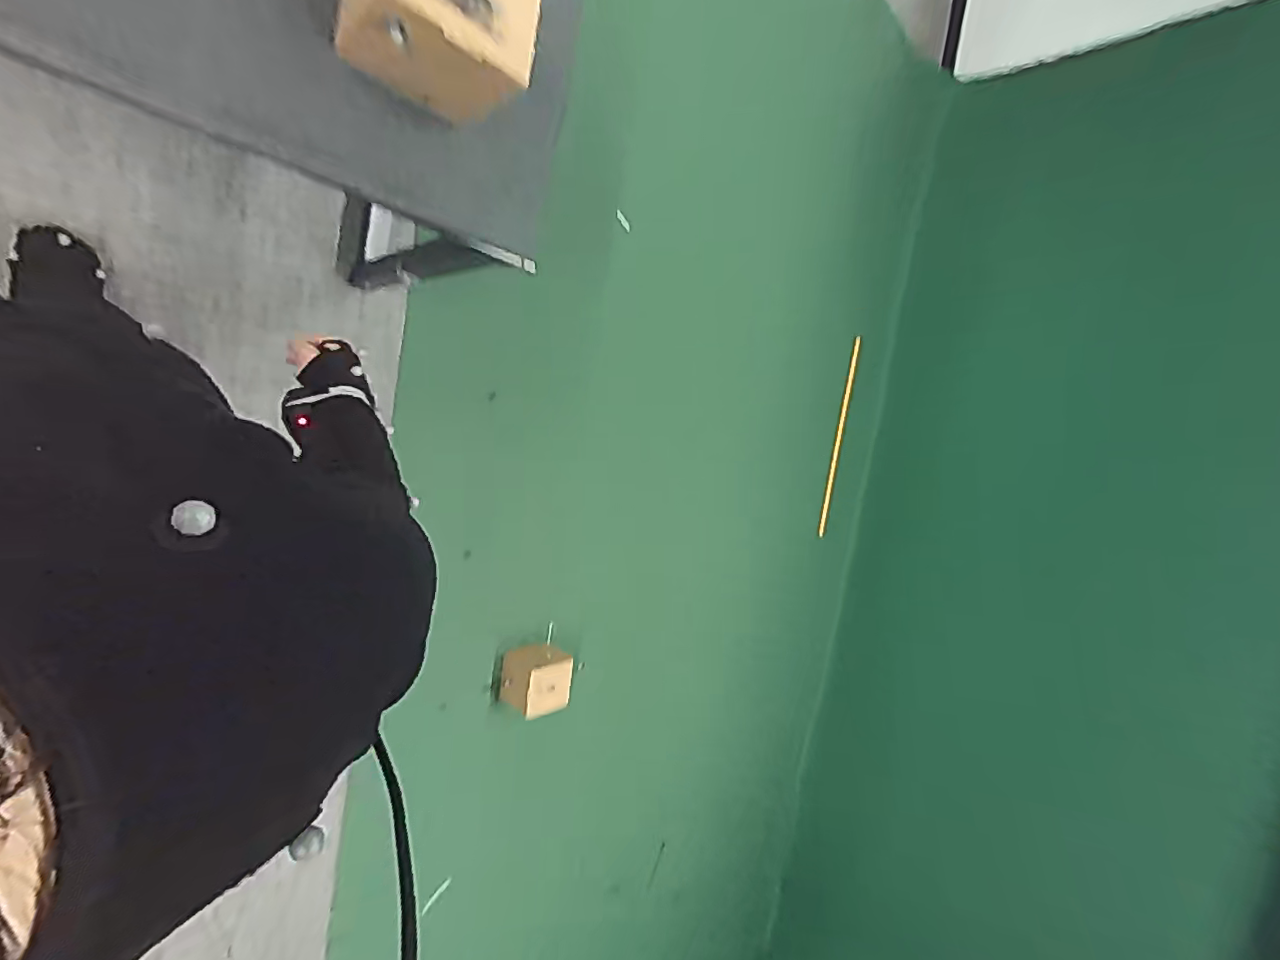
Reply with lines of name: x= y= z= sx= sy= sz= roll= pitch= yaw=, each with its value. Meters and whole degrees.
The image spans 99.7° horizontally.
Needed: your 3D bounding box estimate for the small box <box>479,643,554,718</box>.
small box: x=-0.425 y=0.679 z=1.856 sx=0.179 sy=0.176 sz=0.168 roll=2 pitch=99 yaw=-47
